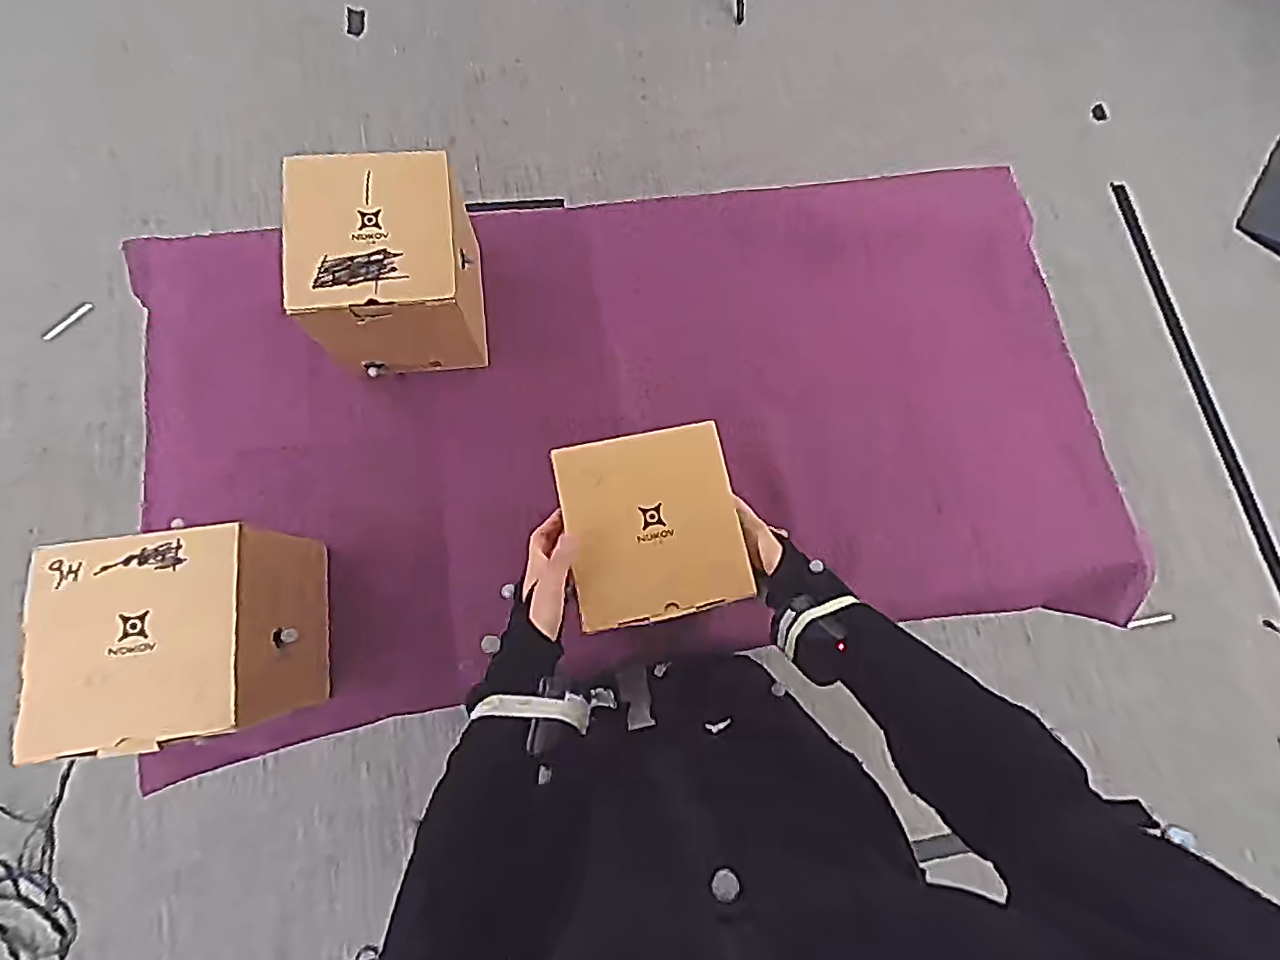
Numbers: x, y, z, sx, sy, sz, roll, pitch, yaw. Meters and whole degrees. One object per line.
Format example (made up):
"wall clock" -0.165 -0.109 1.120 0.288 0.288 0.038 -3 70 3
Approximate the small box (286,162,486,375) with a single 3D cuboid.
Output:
"small box" -0.281 -0.232 0.631 0.168 0.176 0.179 -6 78 -6

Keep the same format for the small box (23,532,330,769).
"small box" -0.427 0.154 0.532 0.168 0.176 0.179 -7 78 -7
